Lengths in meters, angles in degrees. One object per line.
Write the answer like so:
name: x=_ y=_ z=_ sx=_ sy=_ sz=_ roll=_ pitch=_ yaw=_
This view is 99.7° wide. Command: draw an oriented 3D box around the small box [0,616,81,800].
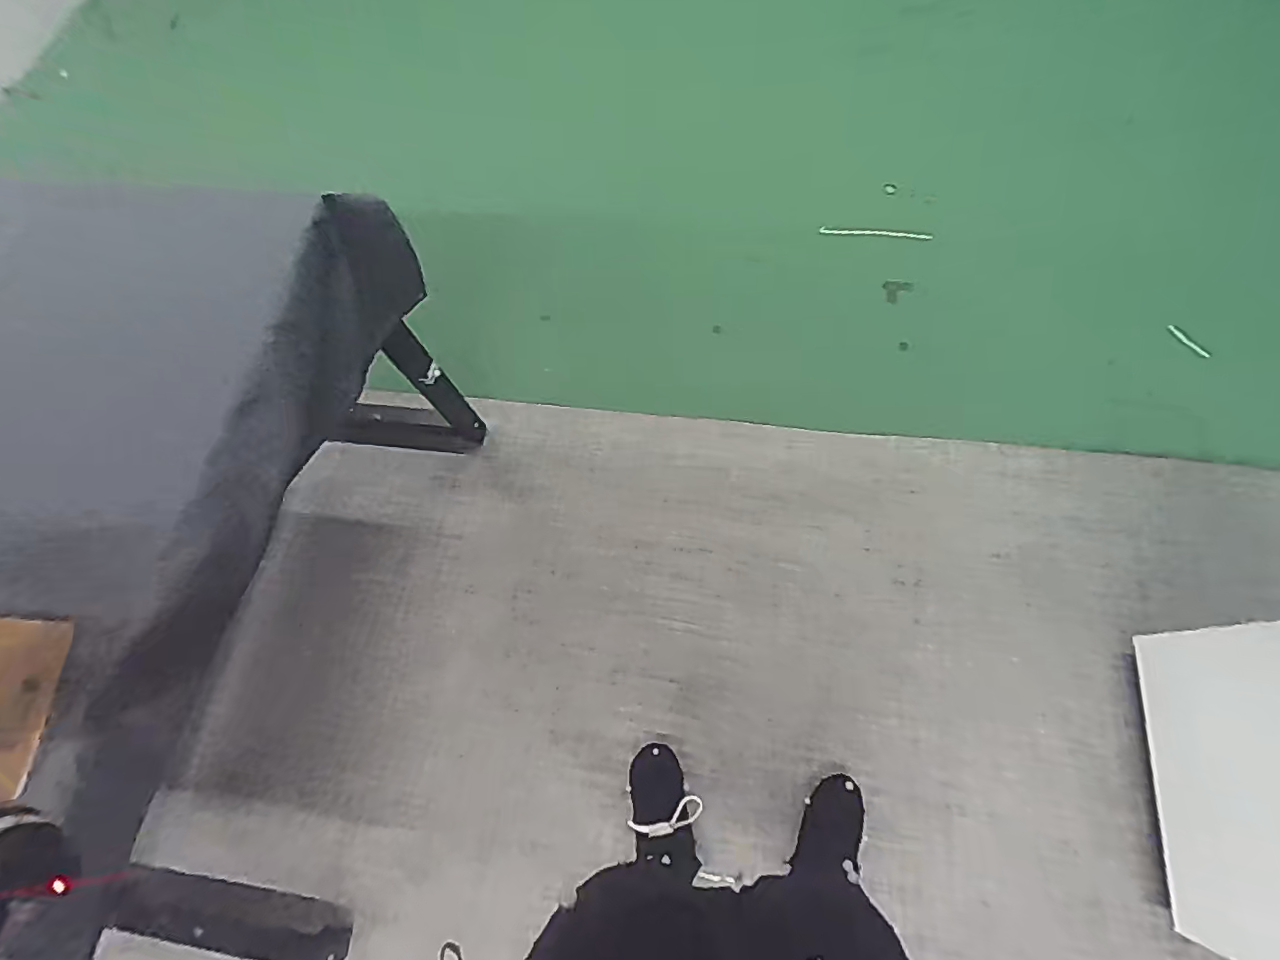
small box: x=-0.685 y=0.208 z=0.482 sx=0.179 sy=0.176 sz=0.168 roll=-4 pitch=68 yaw=3
